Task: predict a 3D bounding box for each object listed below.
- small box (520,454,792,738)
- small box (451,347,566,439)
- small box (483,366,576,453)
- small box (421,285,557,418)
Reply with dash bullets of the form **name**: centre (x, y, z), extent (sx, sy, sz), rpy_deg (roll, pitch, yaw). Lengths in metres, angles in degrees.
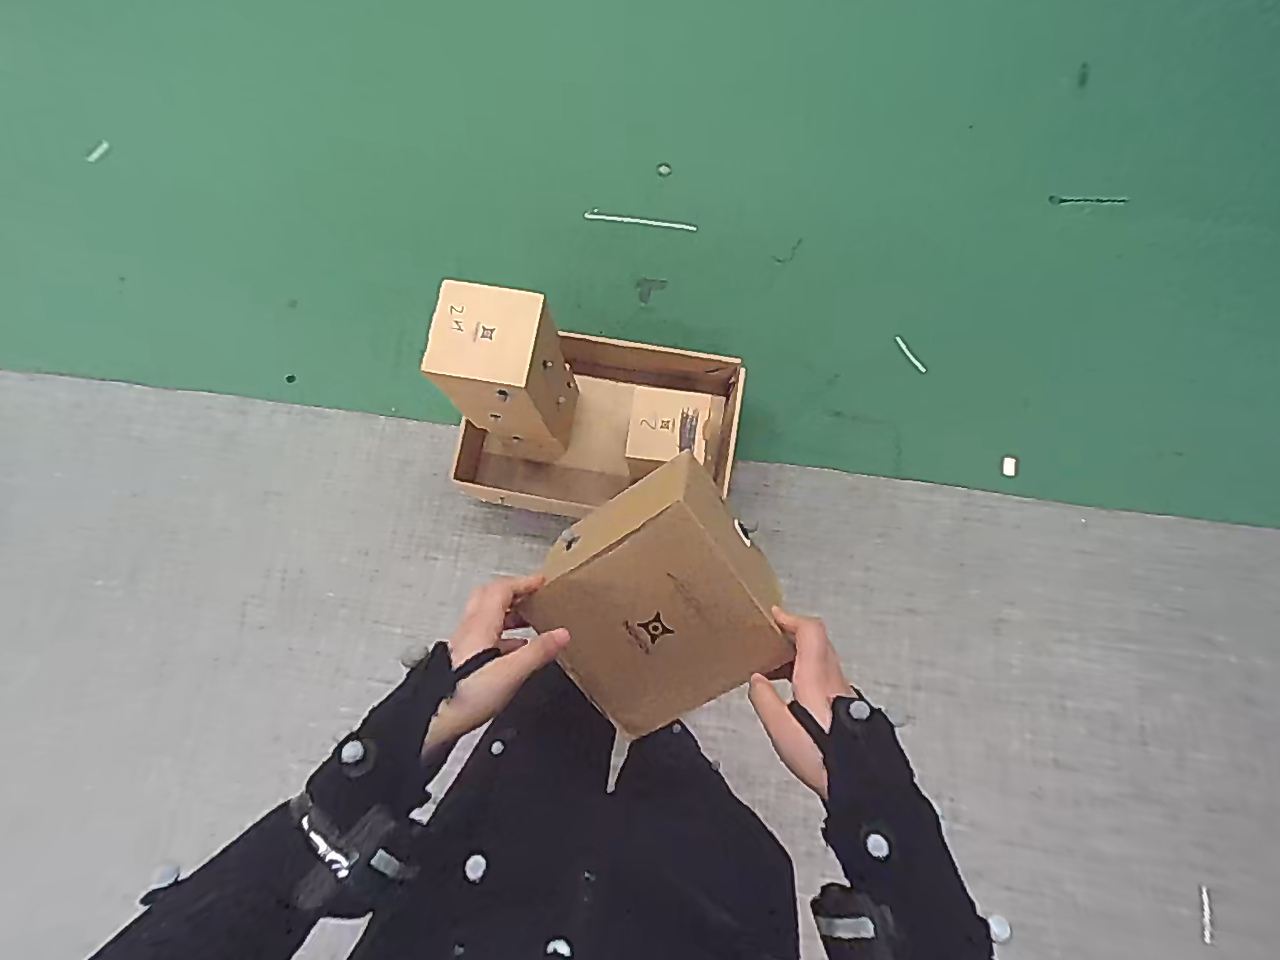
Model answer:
- **small box**: centre (0.021, 0.100, 0.524), extent (0.179, 0.176, 0.168), rpy_deg (-34, 101, 15)
- **small box**: centre (-0.261, -0.190, 1.115), extent (0.179, 0.176, 0.168), rpy_deg (9, 81, 1)
- **small box**: centre (-0.252, -0.170, 1.278), extent (0.168, 0.176, 0.179), rpy_deg (8, 80, 2)
- **small box**: centre (-0.252, -0.216, 0.951), extent (0.179, 0.176, 0.168), rpy_deg (9, 80, 2)
